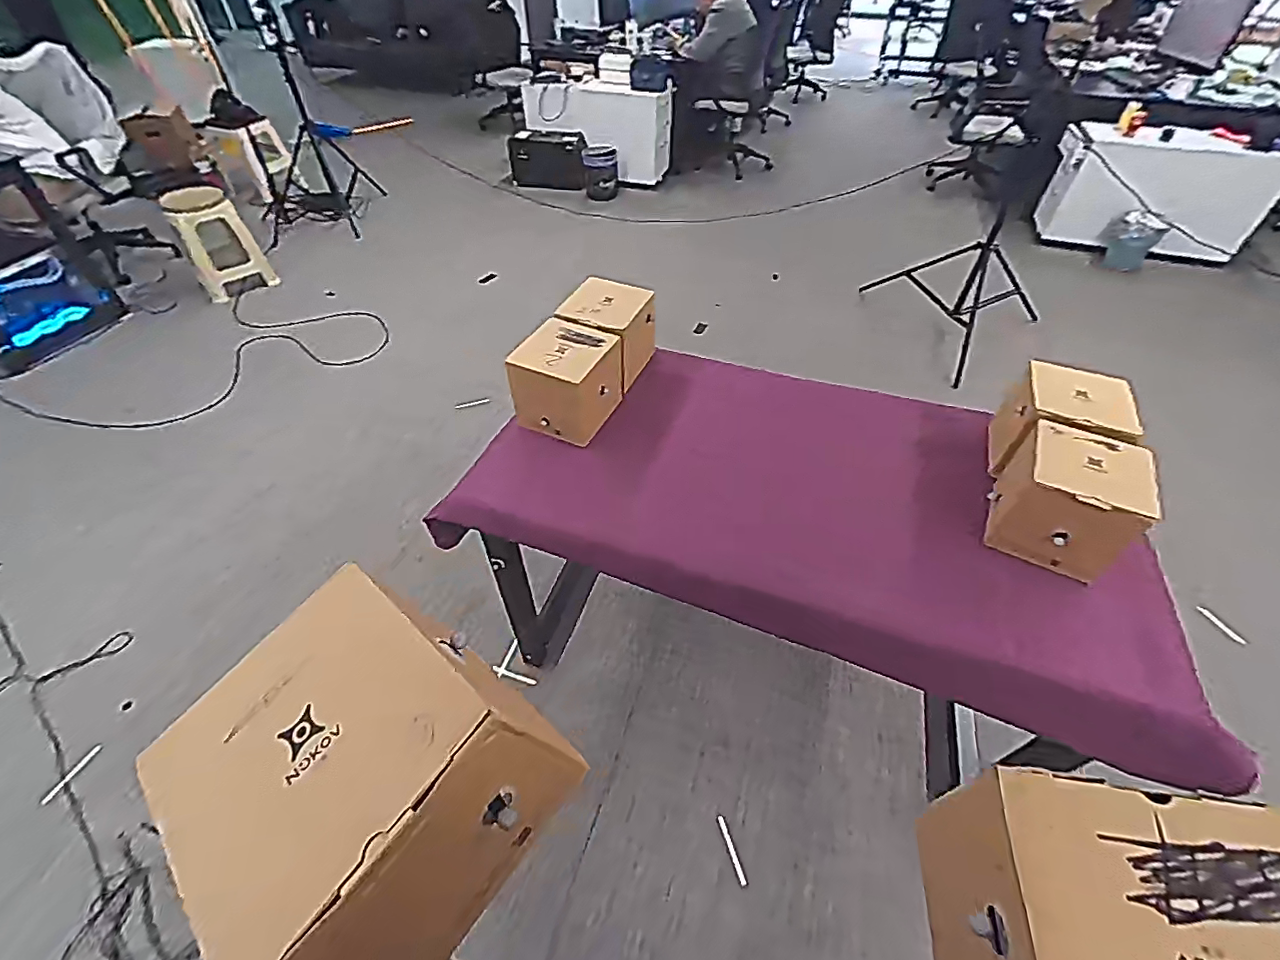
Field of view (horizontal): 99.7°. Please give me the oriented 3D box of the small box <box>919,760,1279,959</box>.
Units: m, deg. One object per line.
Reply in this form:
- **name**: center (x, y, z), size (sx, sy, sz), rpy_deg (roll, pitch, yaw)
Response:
- **small box**: center (0.282, 0.289, 0.316), size (0.168, 0.176, 0.179), rpy_deg (3, 51, 11)

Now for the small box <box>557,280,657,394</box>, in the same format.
- **small box**: center (-0.073, -0.328, 1.239), size (0.168, 0.176, 0.179), rpy_deg (18, 50, 16)

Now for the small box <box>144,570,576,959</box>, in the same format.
- **small box**: center (-0.172, 0.201, 0.377), size (0.179, 0.176, 0.168), rpy_deg (27, 64, 33)

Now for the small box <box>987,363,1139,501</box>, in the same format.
- **small box**: center (0.791, -0.092, 1.035), size (0.168, 0.176, 0.179), rpy_deg (18, 49, 15)
